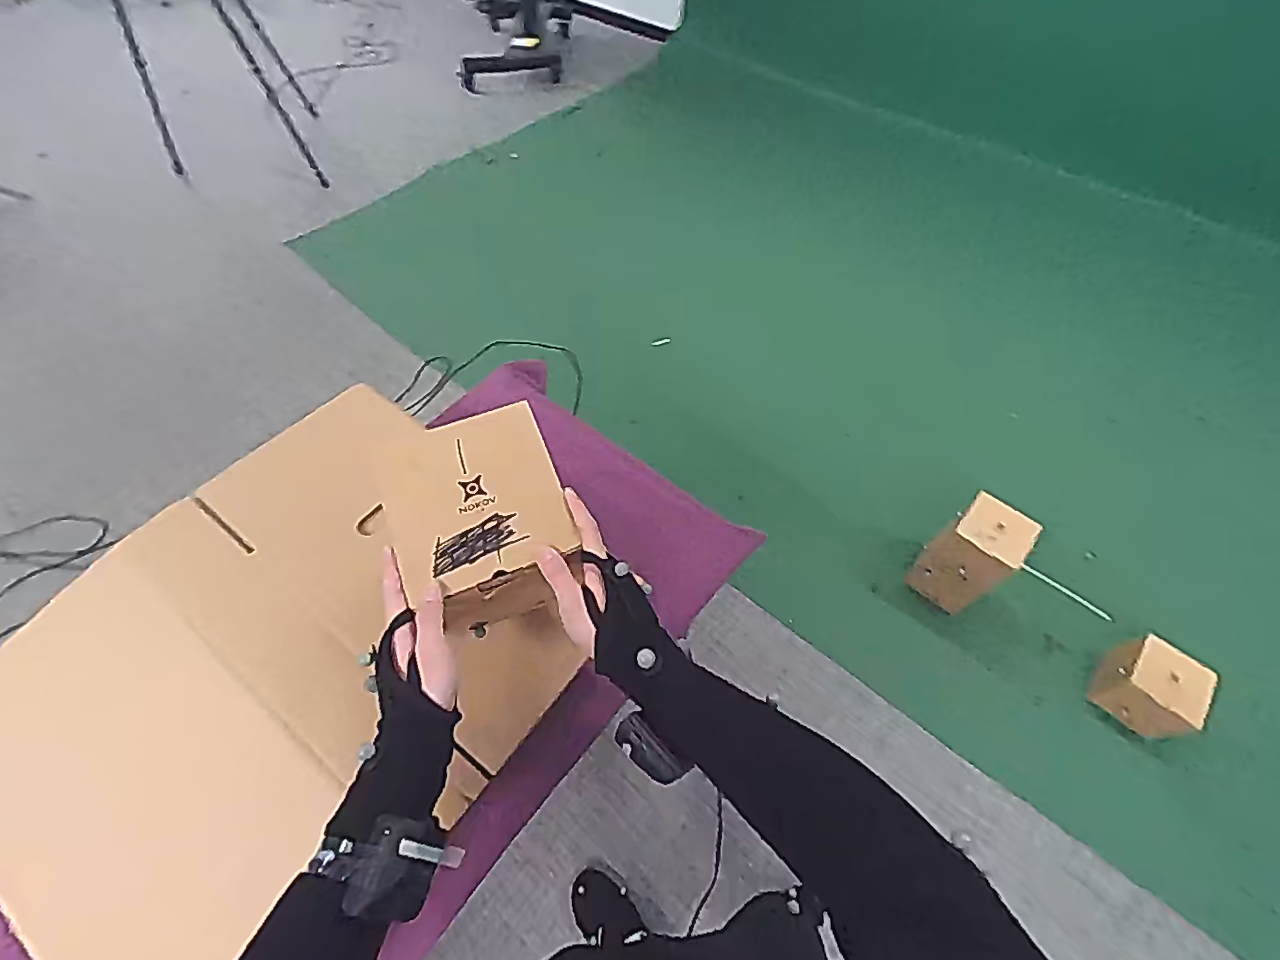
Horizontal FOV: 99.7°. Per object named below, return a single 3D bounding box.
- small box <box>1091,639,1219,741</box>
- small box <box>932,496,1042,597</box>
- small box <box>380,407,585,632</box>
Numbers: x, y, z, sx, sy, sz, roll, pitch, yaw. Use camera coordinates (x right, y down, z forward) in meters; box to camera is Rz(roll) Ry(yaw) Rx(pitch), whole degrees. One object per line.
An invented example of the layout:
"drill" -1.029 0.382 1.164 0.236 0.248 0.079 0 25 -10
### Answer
"small box" 1.357 0.560 1.435 0.168 0.176 0.179 37 64 21
"small box" 0.938 0.184 1.478 0.168 0.176 0.179 37 64 22
"small box" -0.159 0.053 0.587 0.168 0.176 0.179 -16 65 -13
